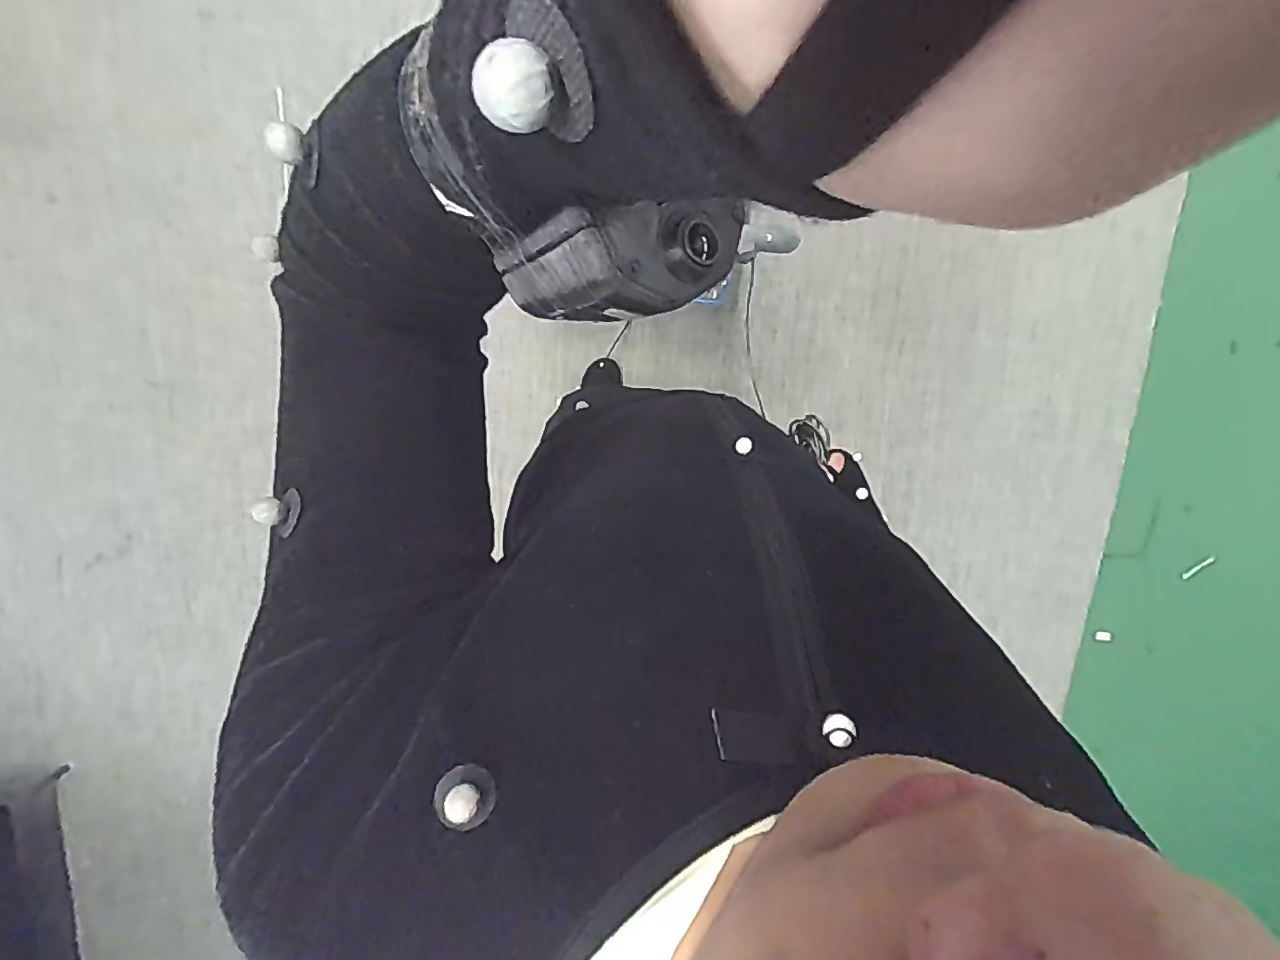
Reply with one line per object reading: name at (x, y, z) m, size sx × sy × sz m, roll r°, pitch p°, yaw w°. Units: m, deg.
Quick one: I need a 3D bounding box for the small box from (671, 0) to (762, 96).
small box at (0.162, -0.987, 1.185) m, size 0.168 × 0.176 × 0.179 m, roll 5°, pitch 102°, yaw -4°

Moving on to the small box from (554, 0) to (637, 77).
small box at (-0.092, -1.011, 1.166) m, size 0.168 × 0.176 × 0.179 m, roll 3°, pitch 101°, yaw -4°
